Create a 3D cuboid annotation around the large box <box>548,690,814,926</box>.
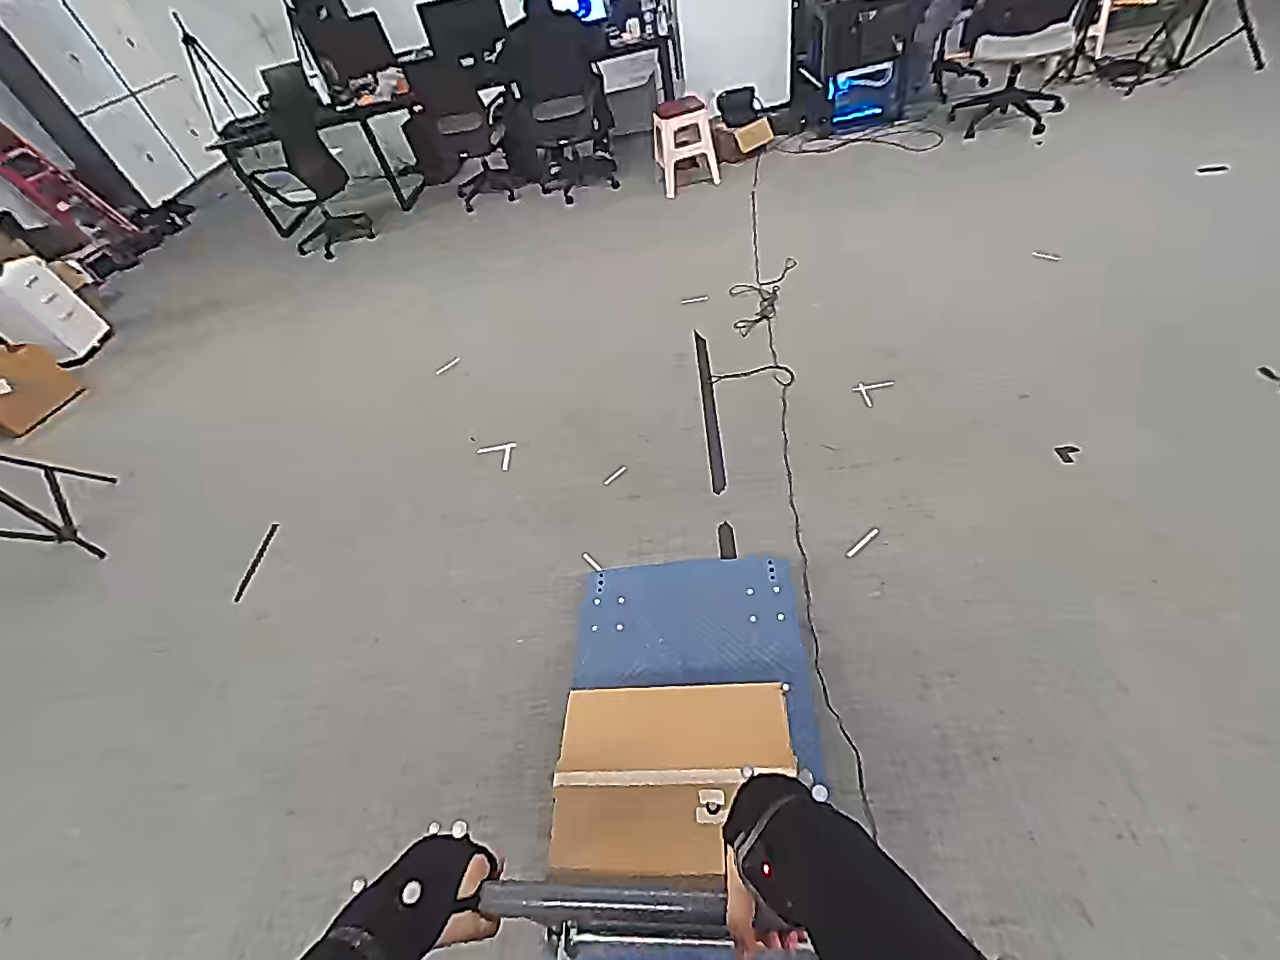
[{"bbox_3d":[0.081,0.611,1.000,0.408,0.320,0.320,-6,46,9],"label":"large box"}]
